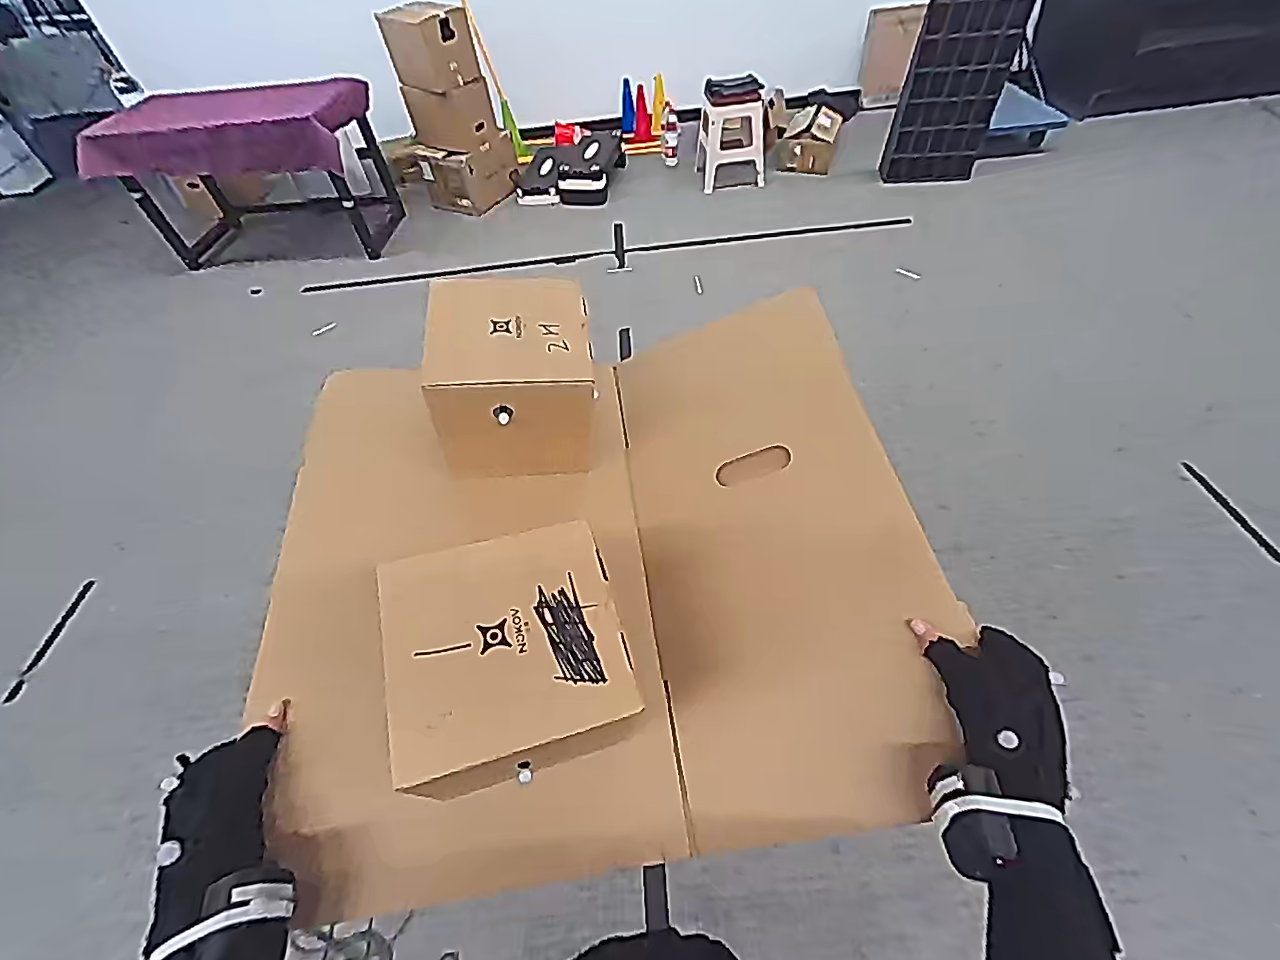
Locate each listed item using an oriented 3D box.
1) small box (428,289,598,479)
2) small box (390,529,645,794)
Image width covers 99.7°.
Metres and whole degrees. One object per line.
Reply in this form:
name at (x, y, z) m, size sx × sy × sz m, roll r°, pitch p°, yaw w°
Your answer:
small box at (-0.146, -0.112, 0.666) m, size 0.179 × 0.176 × 0.168 m, roll -2°, pitch 57°, yaw -10°
small box at (-0.109, 0.167, 0.489) m, size 0.179 × 0.176 × 0.168 m, roll -11°, pitch 60°, yaw -14°
